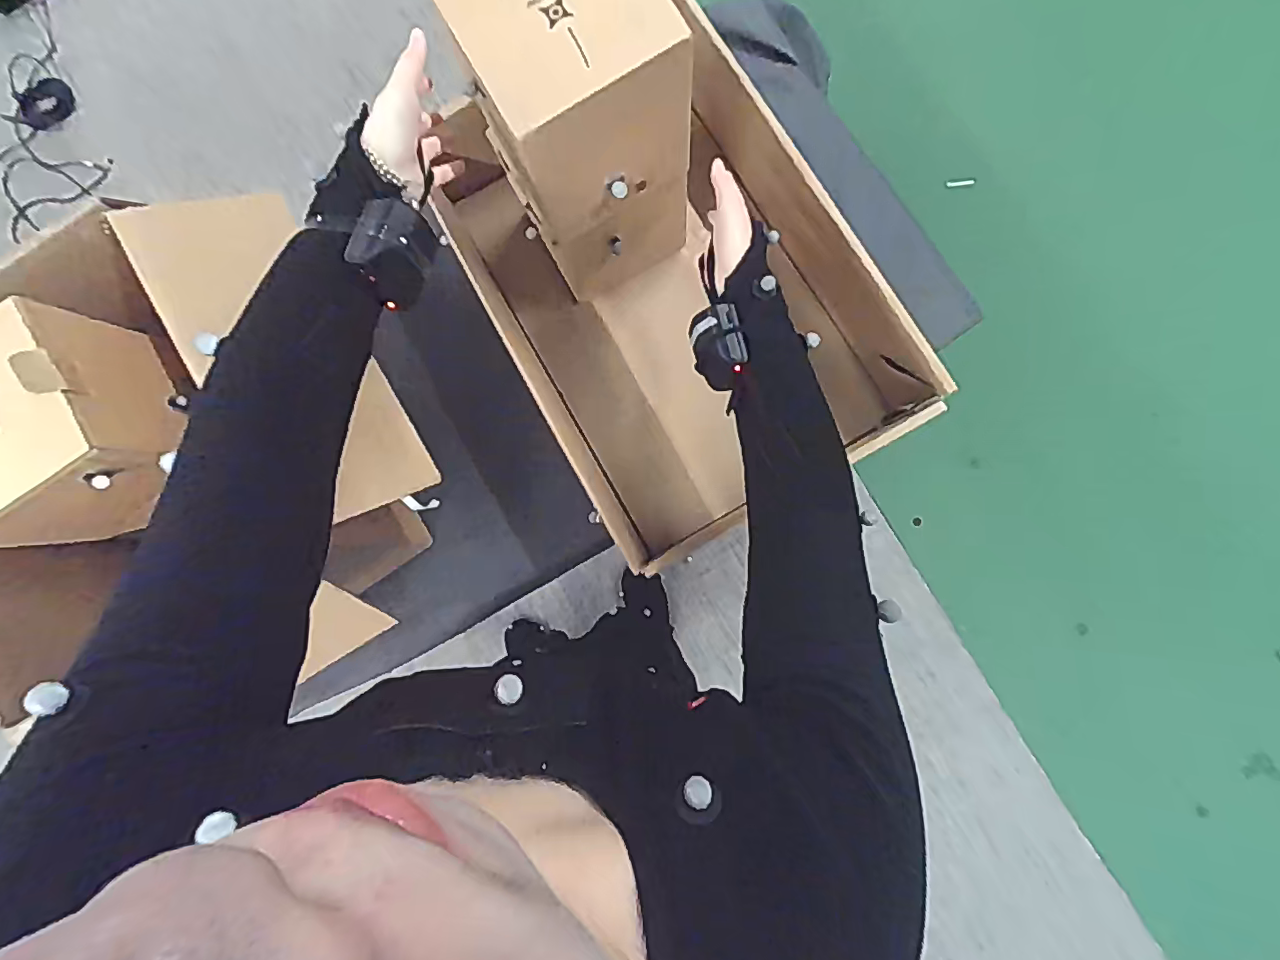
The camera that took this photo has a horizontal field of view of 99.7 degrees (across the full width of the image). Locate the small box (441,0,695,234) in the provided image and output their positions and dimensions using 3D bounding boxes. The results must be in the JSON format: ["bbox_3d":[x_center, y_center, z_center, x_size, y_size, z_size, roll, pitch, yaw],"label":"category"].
[{"bbox_3d":[-0.062,-0.382,0.521,0.168,0.176,0.179,-30,85,2],"label":"small box"}]
